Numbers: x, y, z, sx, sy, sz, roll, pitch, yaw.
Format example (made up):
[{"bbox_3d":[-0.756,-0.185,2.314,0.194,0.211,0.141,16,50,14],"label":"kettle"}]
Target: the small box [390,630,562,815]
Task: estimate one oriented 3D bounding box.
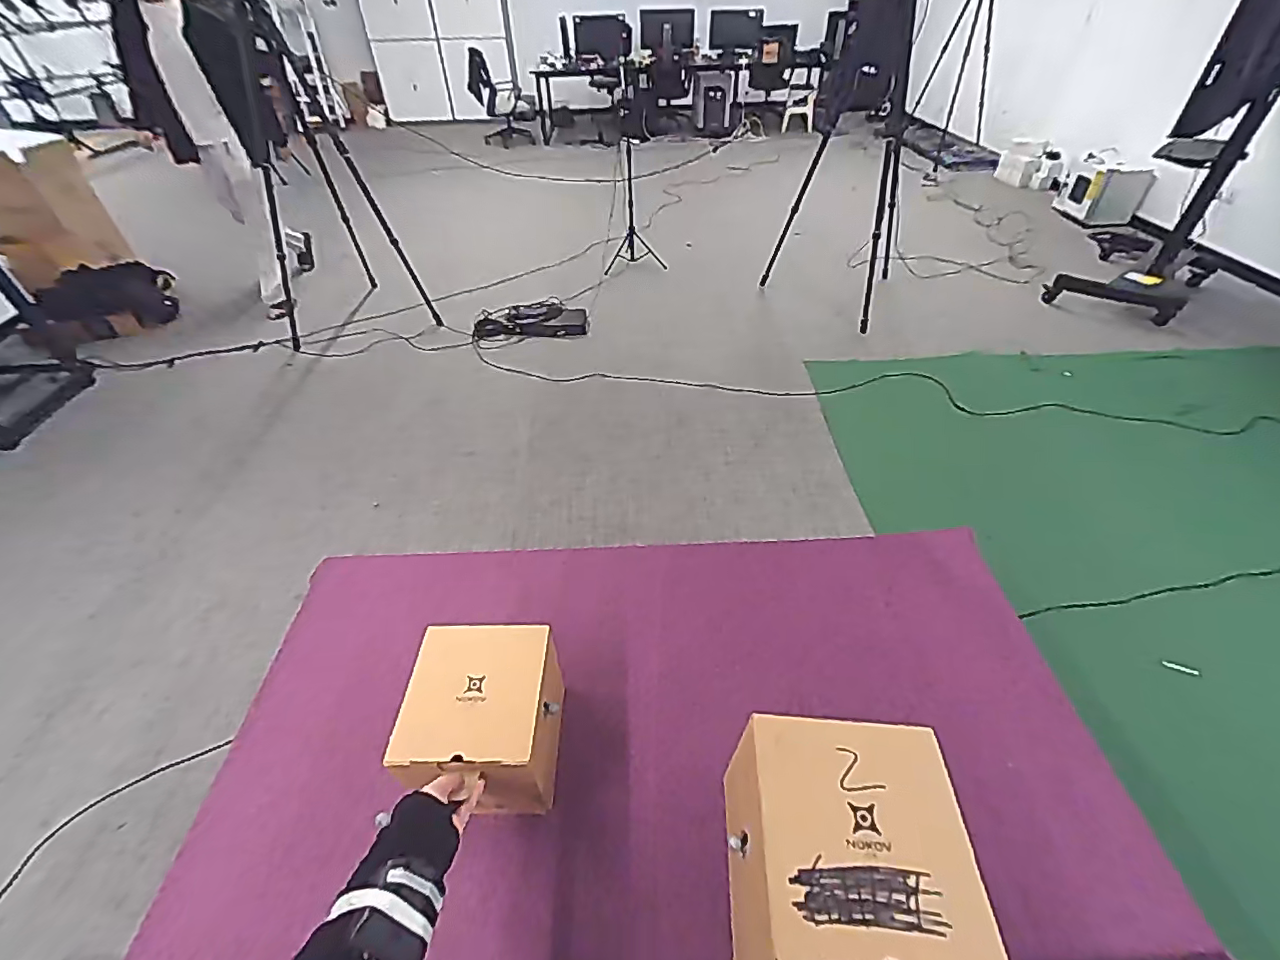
[{"bbox_3d":[-0.201,0.323,0.724,0.168,0.176,0.179,-1,43,1],"label":"small box"}]
